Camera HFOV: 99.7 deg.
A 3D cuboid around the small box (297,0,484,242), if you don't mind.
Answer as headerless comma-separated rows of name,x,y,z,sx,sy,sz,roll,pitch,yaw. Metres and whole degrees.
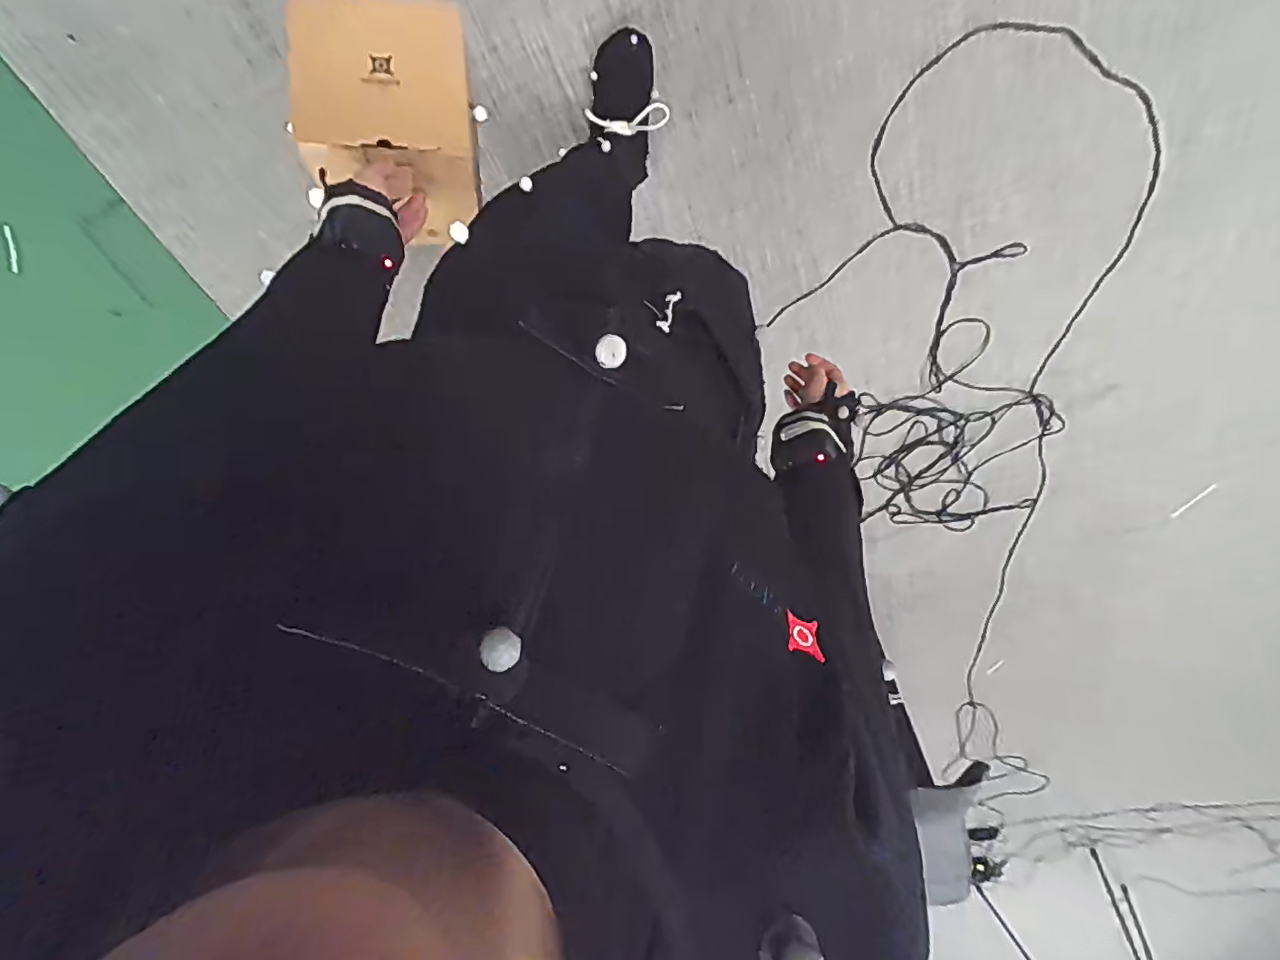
small box,-0.270,-0.403,0.617,0.168,0.179,0.176,-4,173,-13
